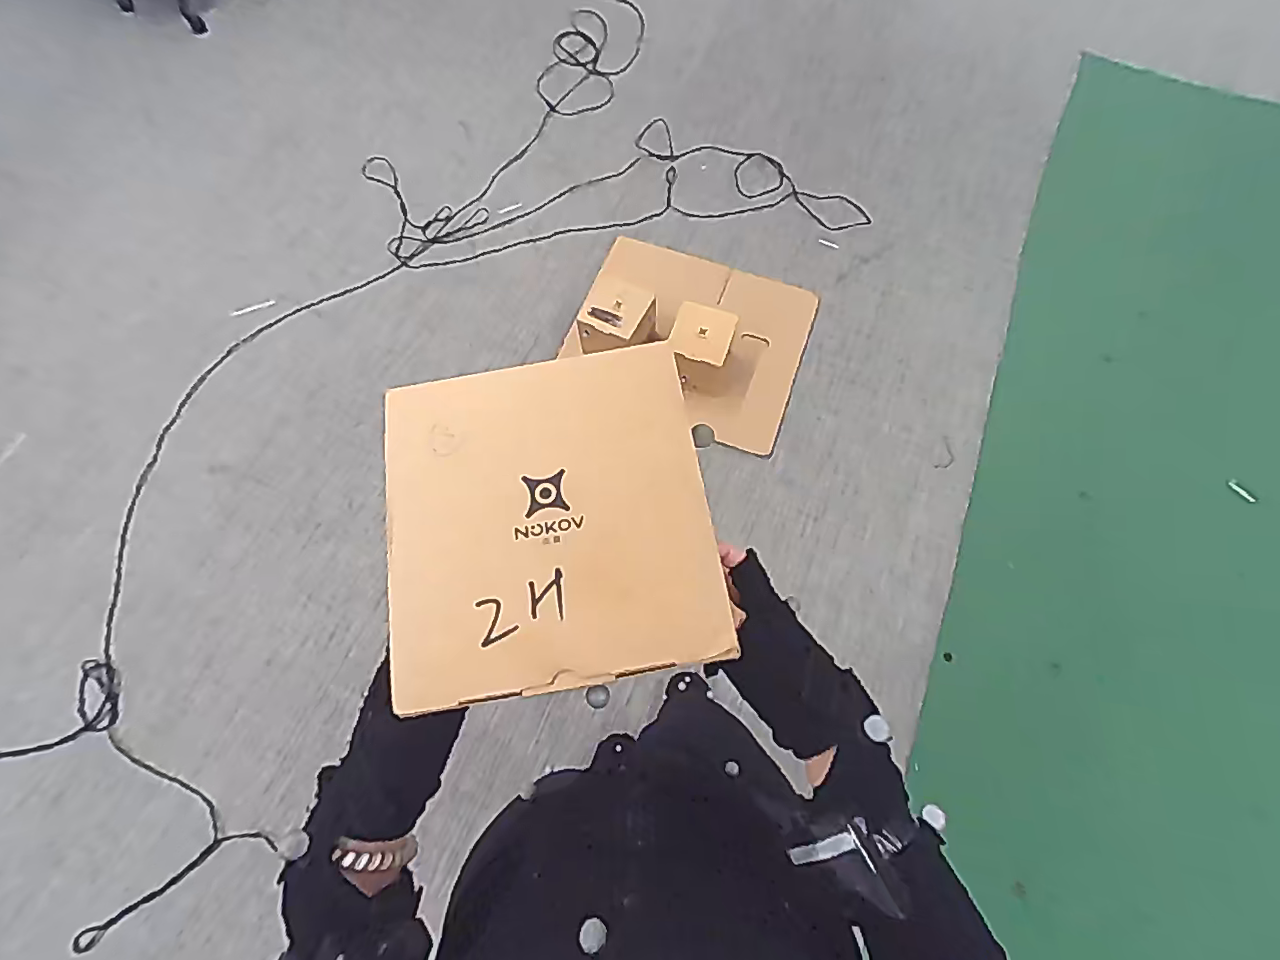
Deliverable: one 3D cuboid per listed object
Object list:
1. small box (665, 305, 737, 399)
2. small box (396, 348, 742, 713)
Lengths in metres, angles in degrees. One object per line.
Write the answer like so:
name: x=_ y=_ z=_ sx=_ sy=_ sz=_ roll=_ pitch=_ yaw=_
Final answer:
small box: x=0.166 y=-0.364 z=1.555 sx=0.168 sy=0.176 sz=0.179 roll=18 pitch=71 yaw=6
small box: x=-0.042 y=0.043 z=0.356 sx=0.168 sy=0.176 sz=0.179 roll=-10 pitch=71 yaw=0
